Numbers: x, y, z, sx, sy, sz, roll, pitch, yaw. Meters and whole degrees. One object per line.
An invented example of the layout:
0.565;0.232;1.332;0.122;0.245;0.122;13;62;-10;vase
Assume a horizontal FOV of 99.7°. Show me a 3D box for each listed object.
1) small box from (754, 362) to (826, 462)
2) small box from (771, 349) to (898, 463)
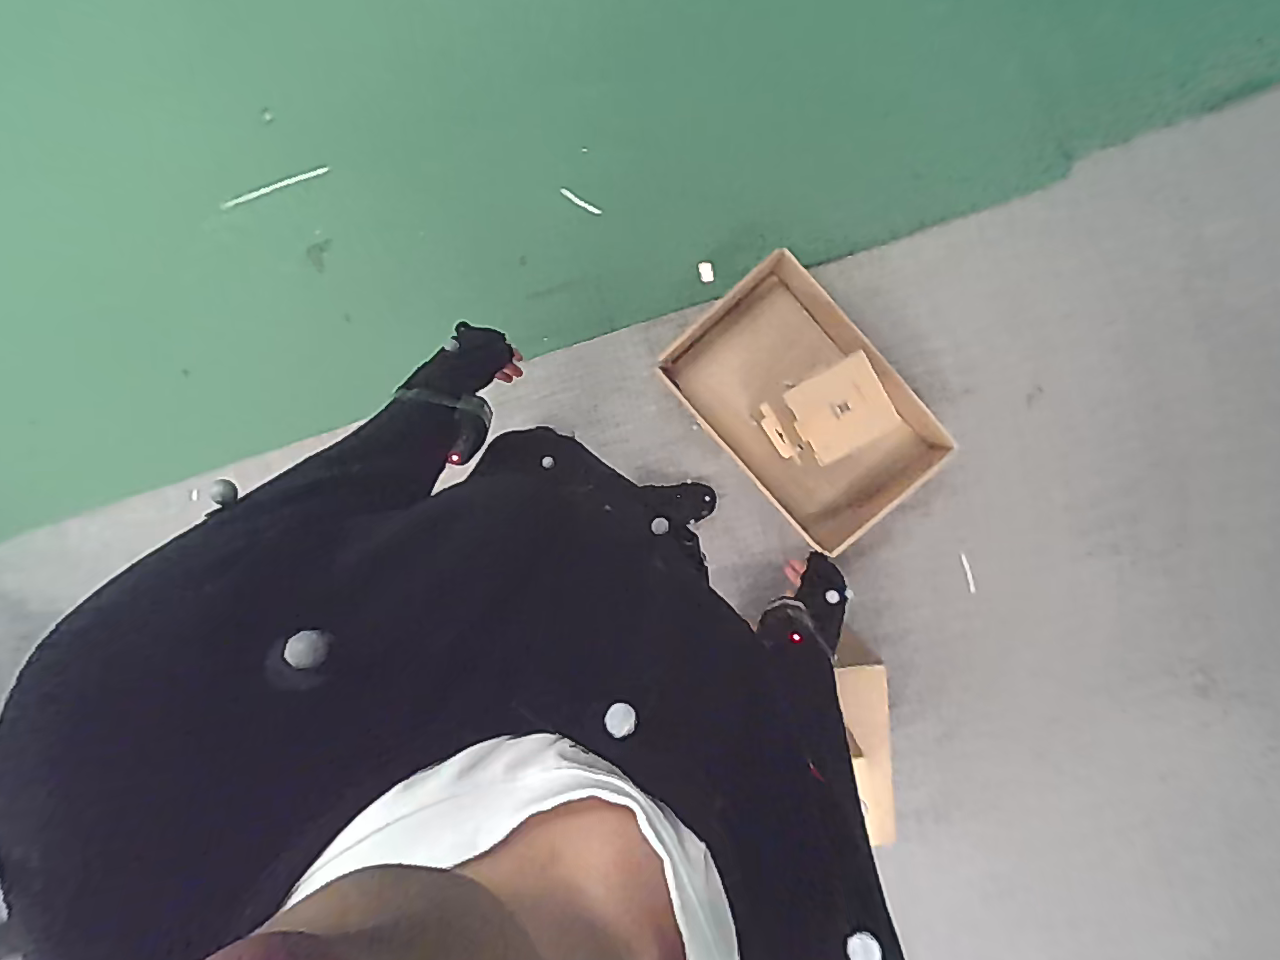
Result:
0.388;-0.155;1.293;0.179;0.176;0.168;-34;91;4;small box
0.392;-0.147;1.131;0.179;0.176;0.168;-30;92;3;small box
